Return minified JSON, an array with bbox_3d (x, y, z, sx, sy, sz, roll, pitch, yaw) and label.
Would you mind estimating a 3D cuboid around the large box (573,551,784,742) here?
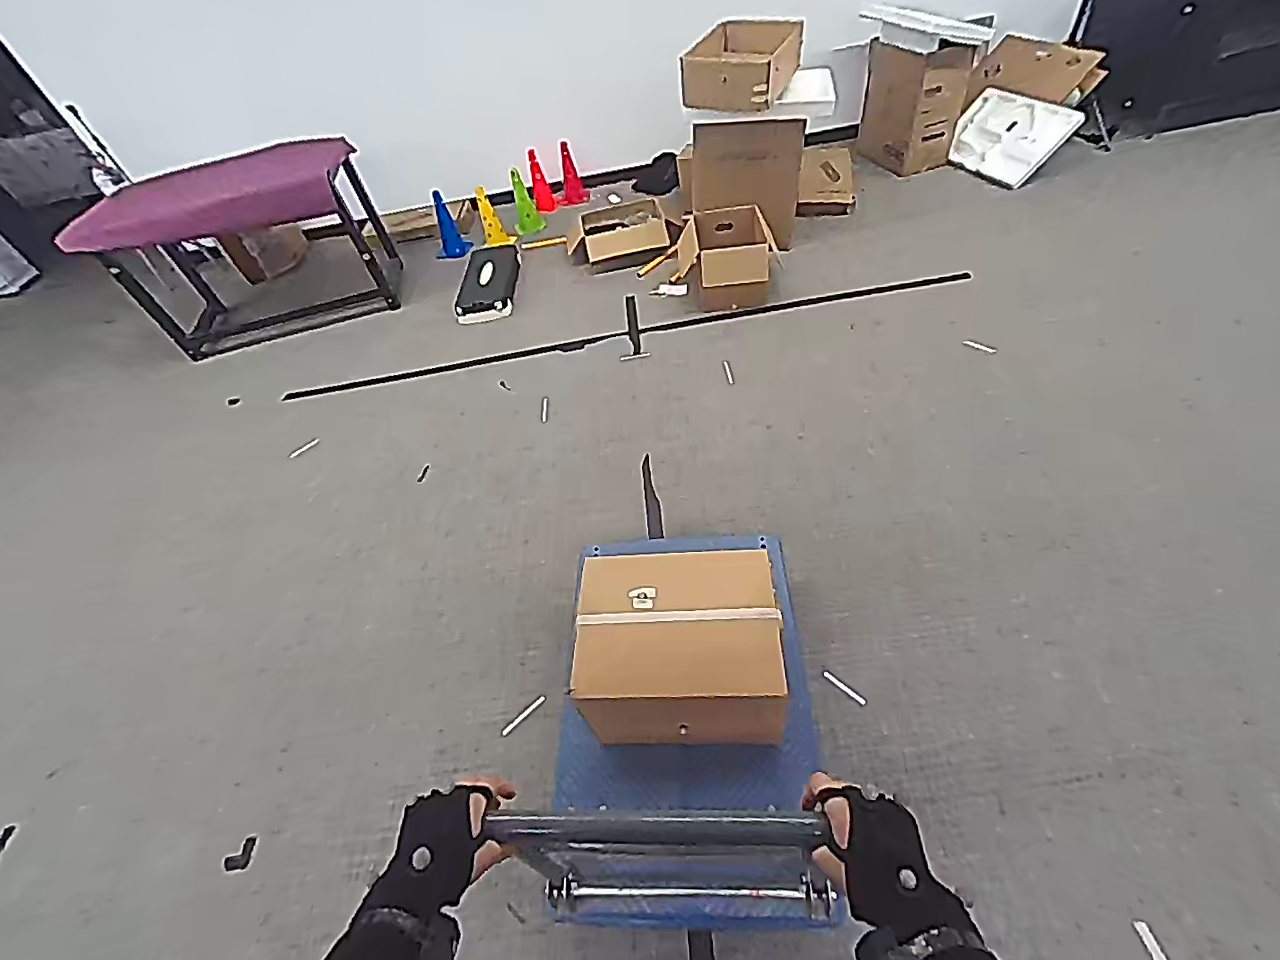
[{"bbox_3d":[0.094,0.383,1.215,0.408,0.320,0.320,-5,48,8],"label":"large box"}]
